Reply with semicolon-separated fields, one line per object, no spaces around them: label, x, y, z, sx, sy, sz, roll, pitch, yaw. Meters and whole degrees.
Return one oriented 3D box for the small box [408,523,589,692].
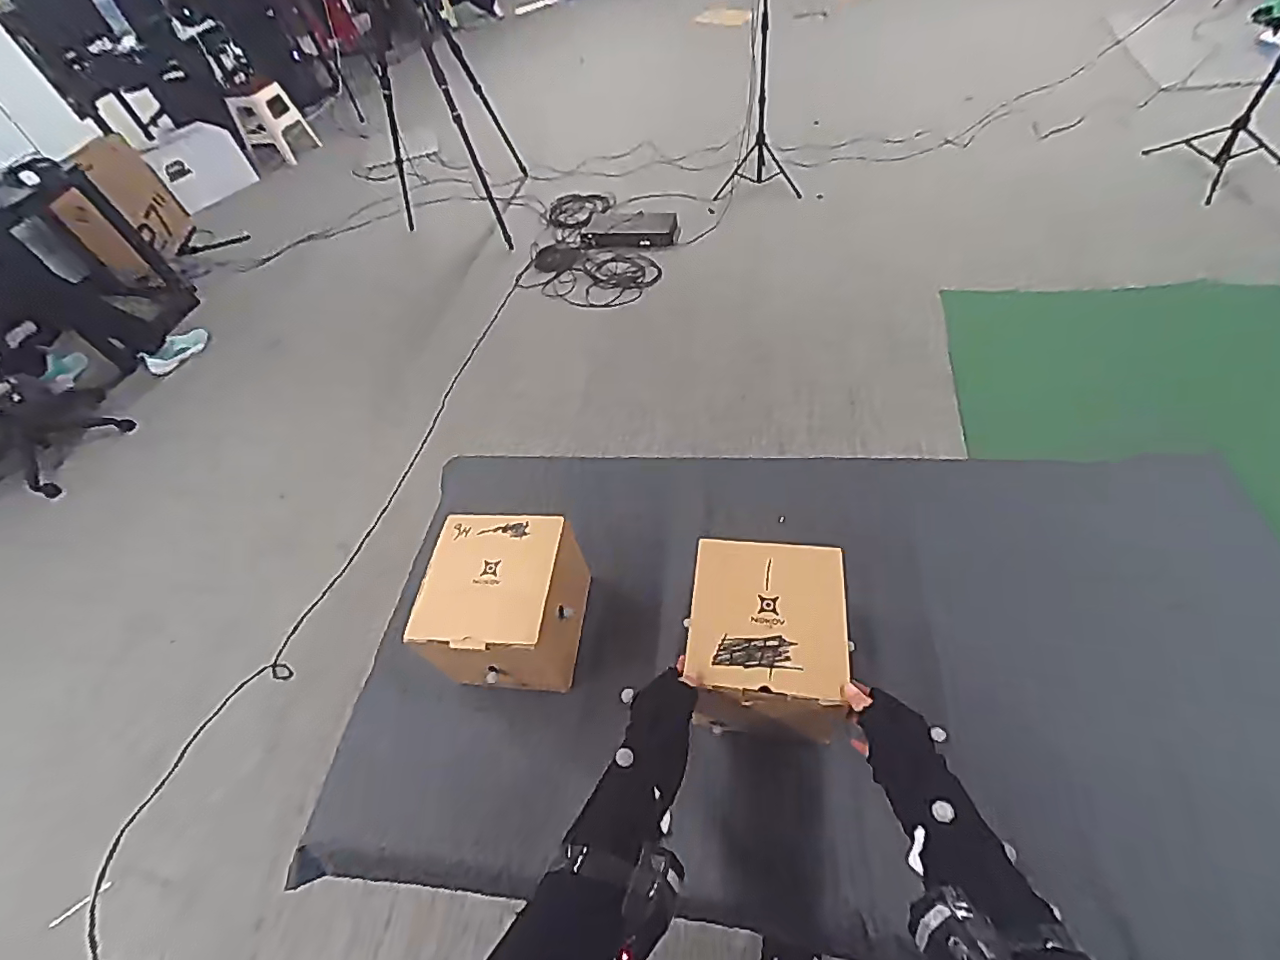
small box;-0.174;0.175;0.732;0.168;0.176;0.179;0;53;10

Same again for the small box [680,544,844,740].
small box;0.147;0.198;0.654;0.168;0.176;0.179;2;52;12
